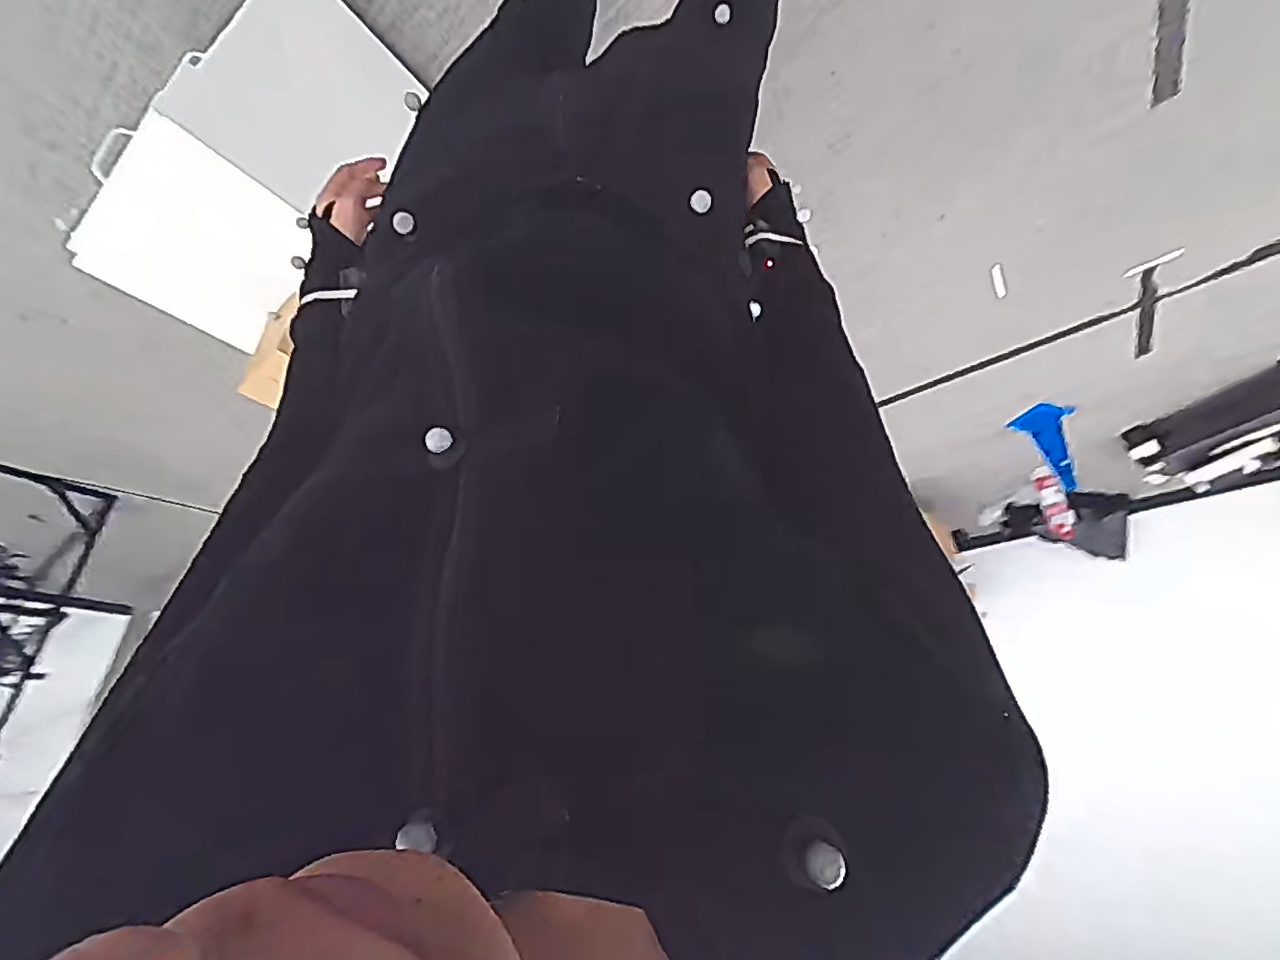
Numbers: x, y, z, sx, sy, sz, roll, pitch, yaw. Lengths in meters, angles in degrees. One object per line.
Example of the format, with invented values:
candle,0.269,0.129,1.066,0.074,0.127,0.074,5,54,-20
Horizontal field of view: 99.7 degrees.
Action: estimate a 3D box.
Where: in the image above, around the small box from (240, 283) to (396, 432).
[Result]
small box,-0.578,-0.220,0.989,0.168,0.176,0.179,-22,144,32
